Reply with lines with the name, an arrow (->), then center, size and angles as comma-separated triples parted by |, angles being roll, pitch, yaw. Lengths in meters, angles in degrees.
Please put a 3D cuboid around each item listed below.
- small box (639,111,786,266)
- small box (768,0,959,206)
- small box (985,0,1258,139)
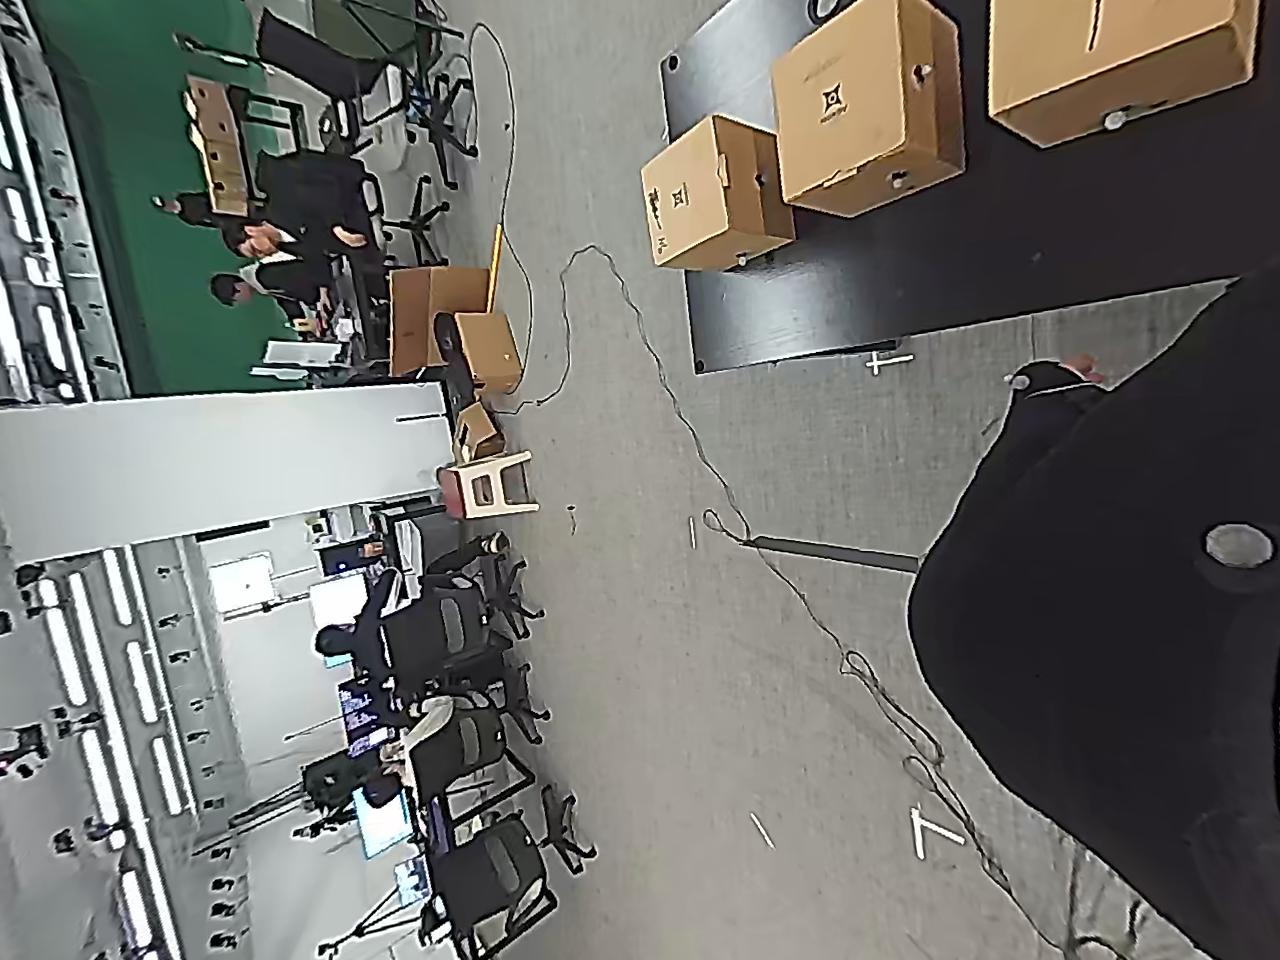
small box -> 0.126, -0.467, 0.899 | 0.179, 0.176, 0.168 | -2, 99, 51
small box -> 0.289, -0.471, 0.693 | 0.168, 0.176, 0.179 | 1, 100, 51
small box -> 0.444, -0.452, 0.498 | 0.168, 0.176, 0.179 | 8, 107, 51
